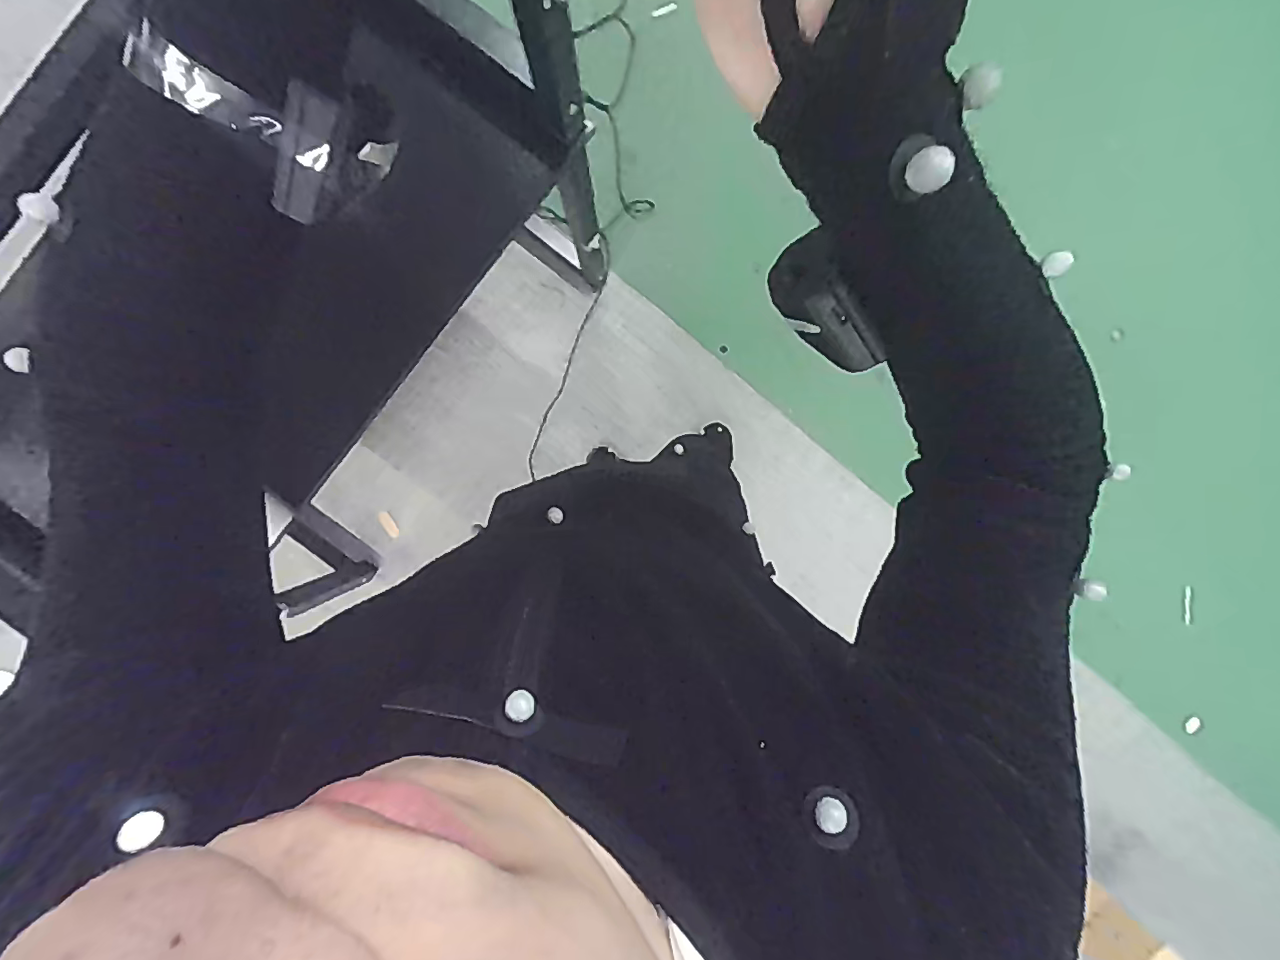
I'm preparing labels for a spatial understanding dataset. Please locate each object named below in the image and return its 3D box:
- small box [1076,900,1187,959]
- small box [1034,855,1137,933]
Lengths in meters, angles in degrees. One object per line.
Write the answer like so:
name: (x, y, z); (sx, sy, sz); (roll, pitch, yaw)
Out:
small box: (1.329, 1.273, 1.435); (0.168, 0.176, 0.179); (-45, 93, 2)
small box: (1.330, 1.264, 1.600); (0.179, 0.176, 0.168); (43, 91, -2)
